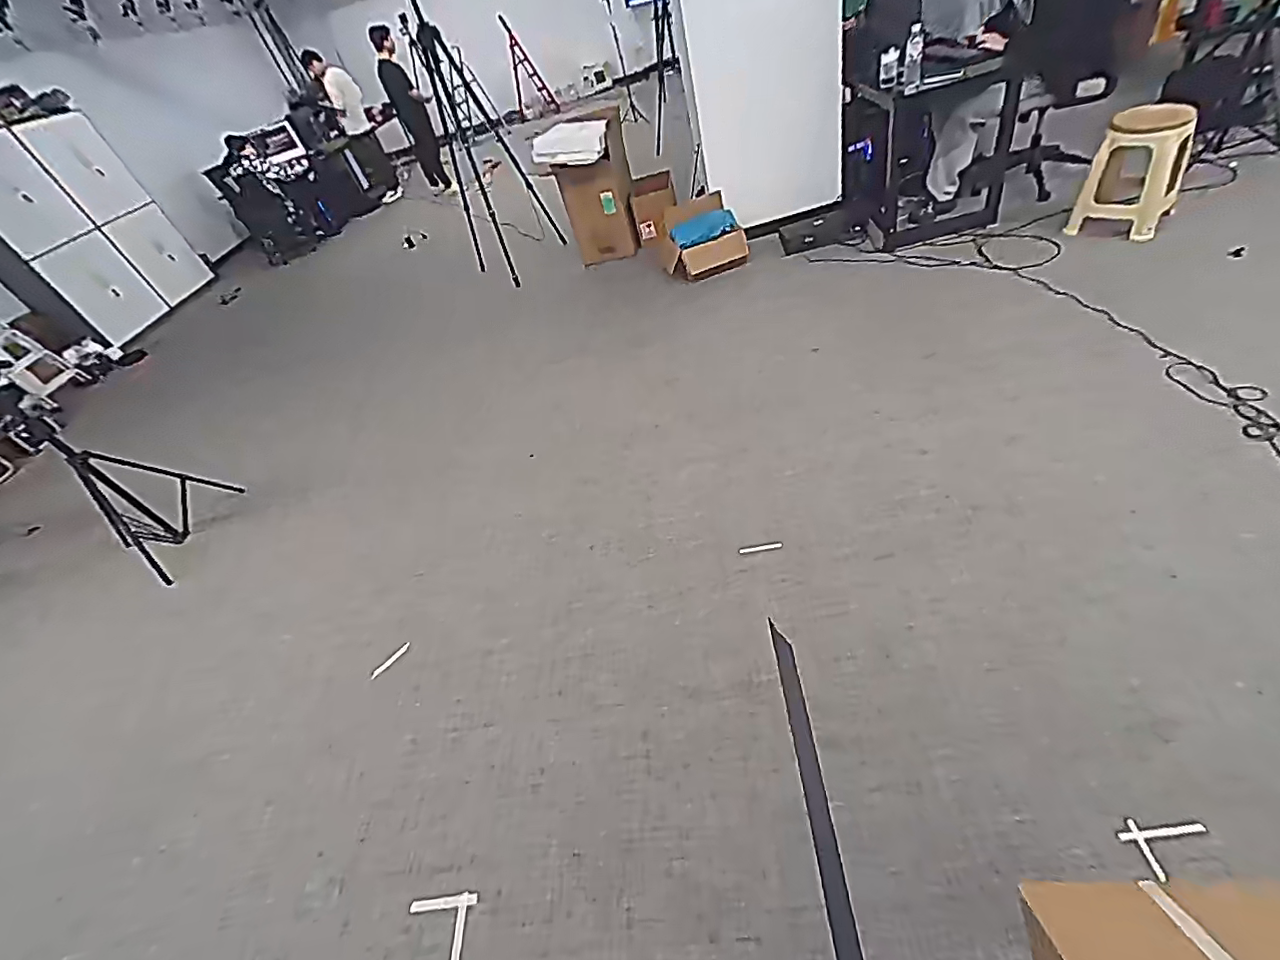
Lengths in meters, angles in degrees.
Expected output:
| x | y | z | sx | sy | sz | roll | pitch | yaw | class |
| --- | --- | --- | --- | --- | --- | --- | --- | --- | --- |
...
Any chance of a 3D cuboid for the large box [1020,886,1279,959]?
| x | y | z | sx | sy | sz | roll | pitch | yaw | class |
| --- | --- | --- | --- | --- | --- | --- | --- | --- | --- |
| 0.650 | 0.684 | 0.515 | 0.320 | 0.408 | 0.320 | -11 | 85 | 13 | large box |
